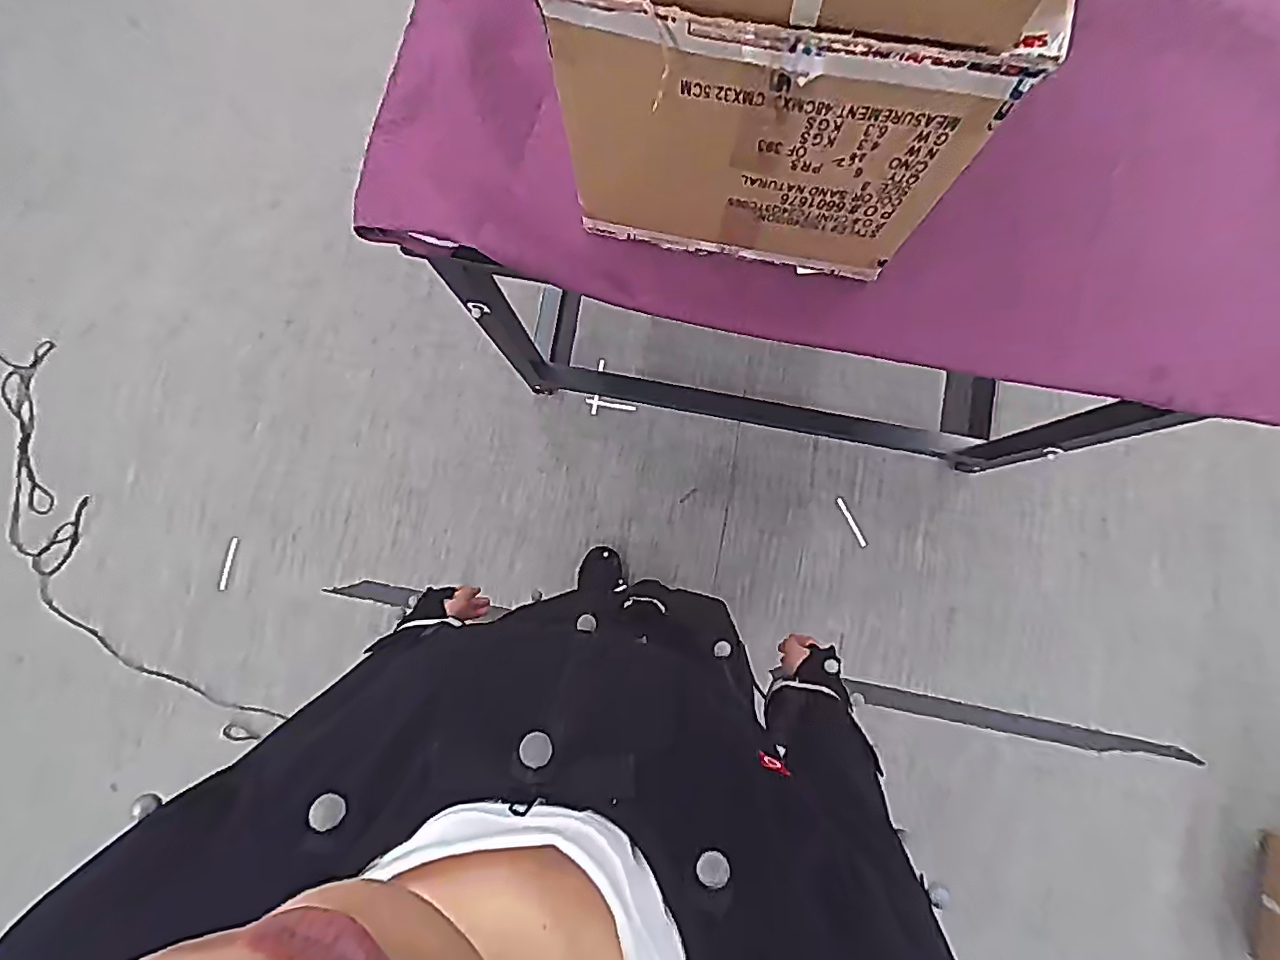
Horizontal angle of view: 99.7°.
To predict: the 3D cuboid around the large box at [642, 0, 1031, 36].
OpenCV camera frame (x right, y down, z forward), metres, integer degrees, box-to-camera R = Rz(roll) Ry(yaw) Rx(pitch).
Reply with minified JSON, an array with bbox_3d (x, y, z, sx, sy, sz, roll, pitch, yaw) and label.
[{"bbox_3d":[0.152,-0.563,0.284,0.320,0.320,0.408,11,84,7],"label":"large box"}]
